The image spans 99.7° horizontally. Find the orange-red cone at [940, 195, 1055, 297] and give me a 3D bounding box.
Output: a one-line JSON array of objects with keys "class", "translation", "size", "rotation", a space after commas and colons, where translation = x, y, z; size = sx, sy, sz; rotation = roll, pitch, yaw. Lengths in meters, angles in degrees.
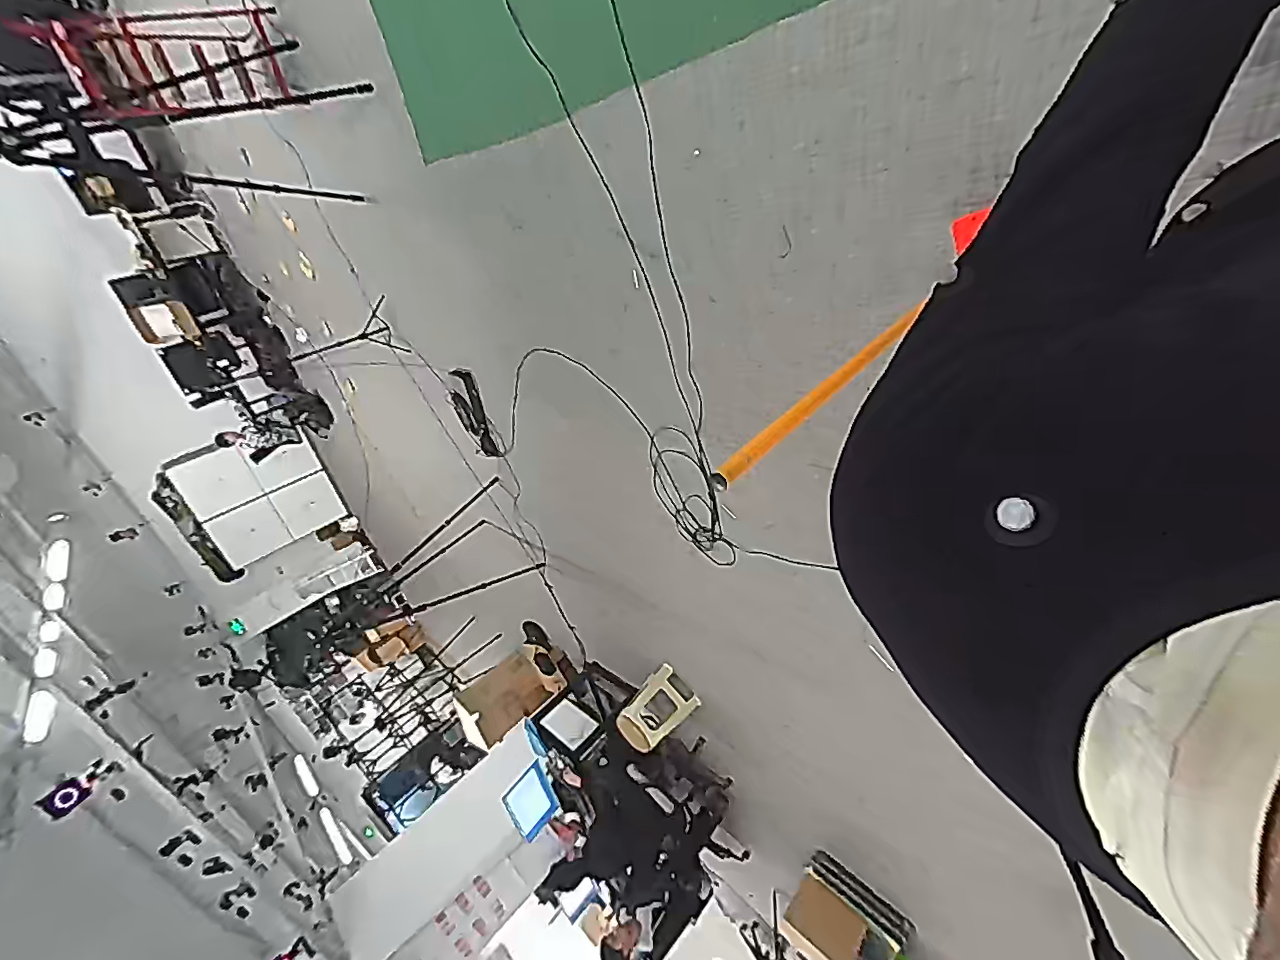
[{"class": "orange-red cone", "translation": [0.761, -0.481, 1.220], "size": [0.199, 0.360, 0.198], "rotation": [-1, 117, 52]}]
